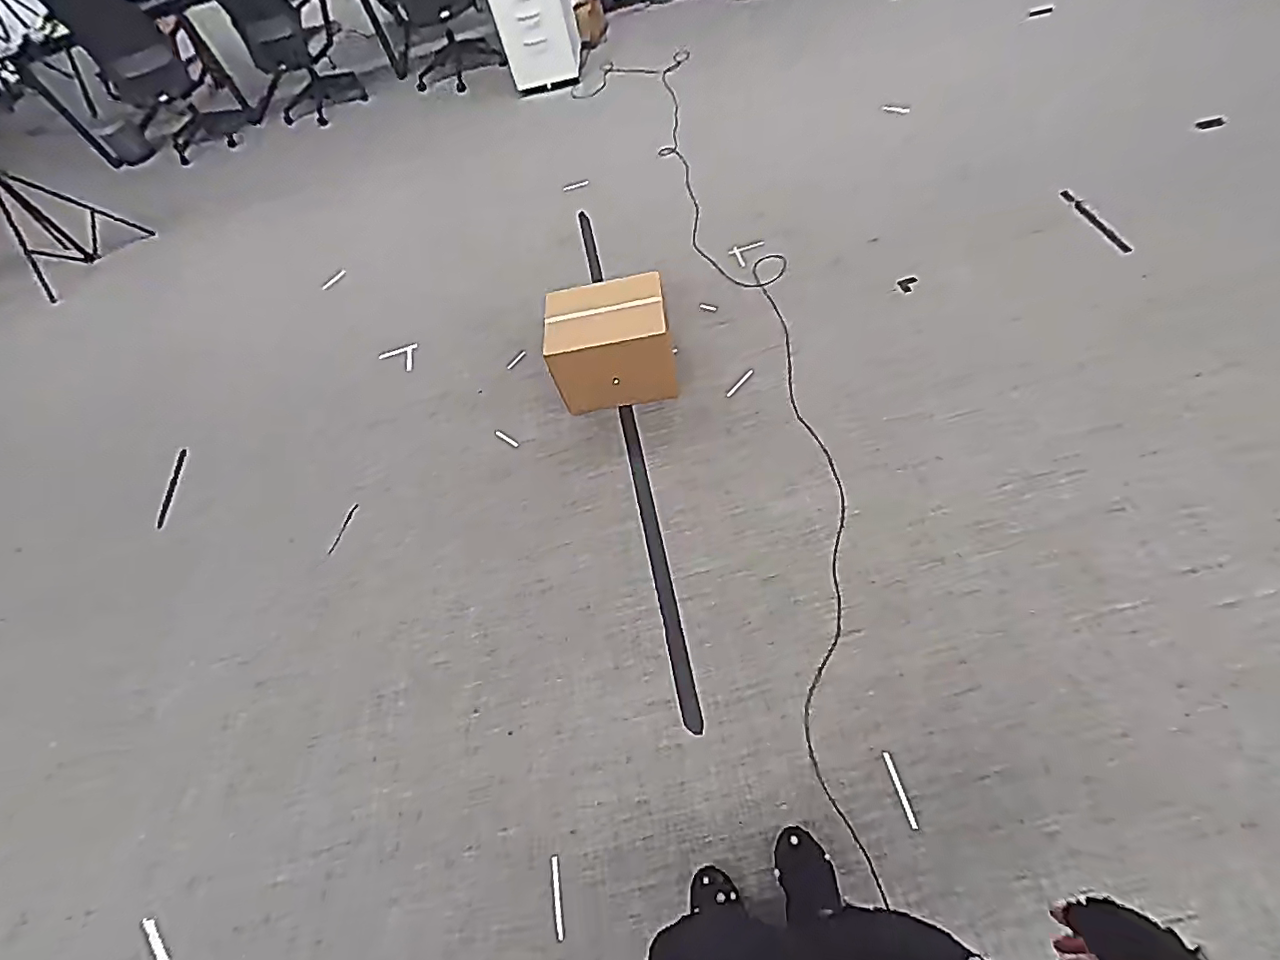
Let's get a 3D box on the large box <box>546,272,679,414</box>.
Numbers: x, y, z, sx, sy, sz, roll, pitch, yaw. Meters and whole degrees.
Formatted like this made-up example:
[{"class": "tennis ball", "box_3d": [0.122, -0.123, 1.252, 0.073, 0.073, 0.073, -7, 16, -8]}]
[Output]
[{"class": "large box", "box_3d": [-0.092, -0.473, 1.905, 0.408, 0.320, 0.320, -9, 57, 7]}]
